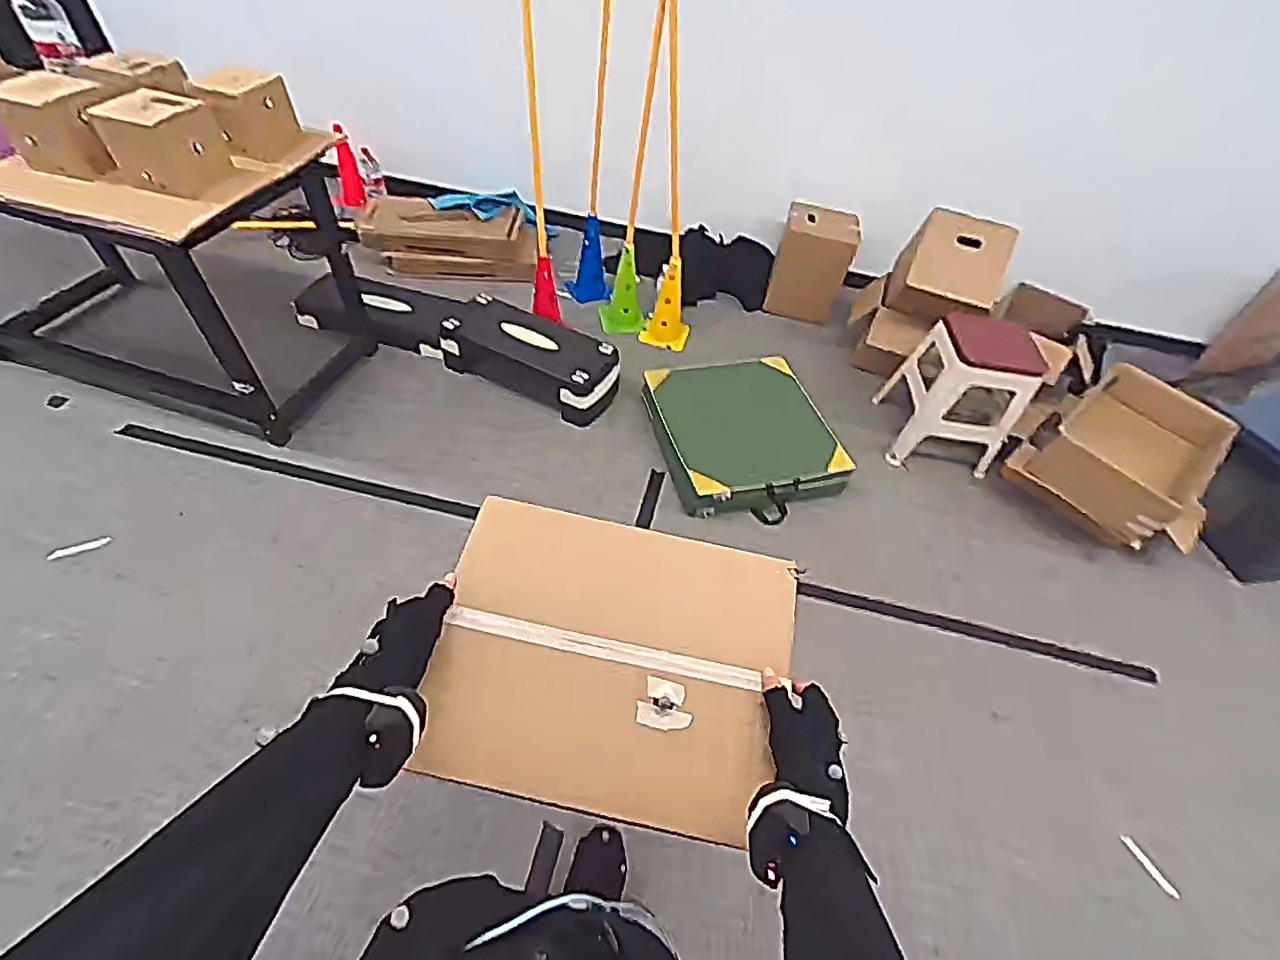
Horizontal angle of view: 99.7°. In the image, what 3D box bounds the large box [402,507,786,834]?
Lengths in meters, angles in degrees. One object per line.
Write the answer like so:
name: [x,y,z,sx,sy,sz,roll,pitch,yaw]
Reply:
large box: [-0.044,0.274,0.758,0.408,0.320,0.320,12,59,1]
